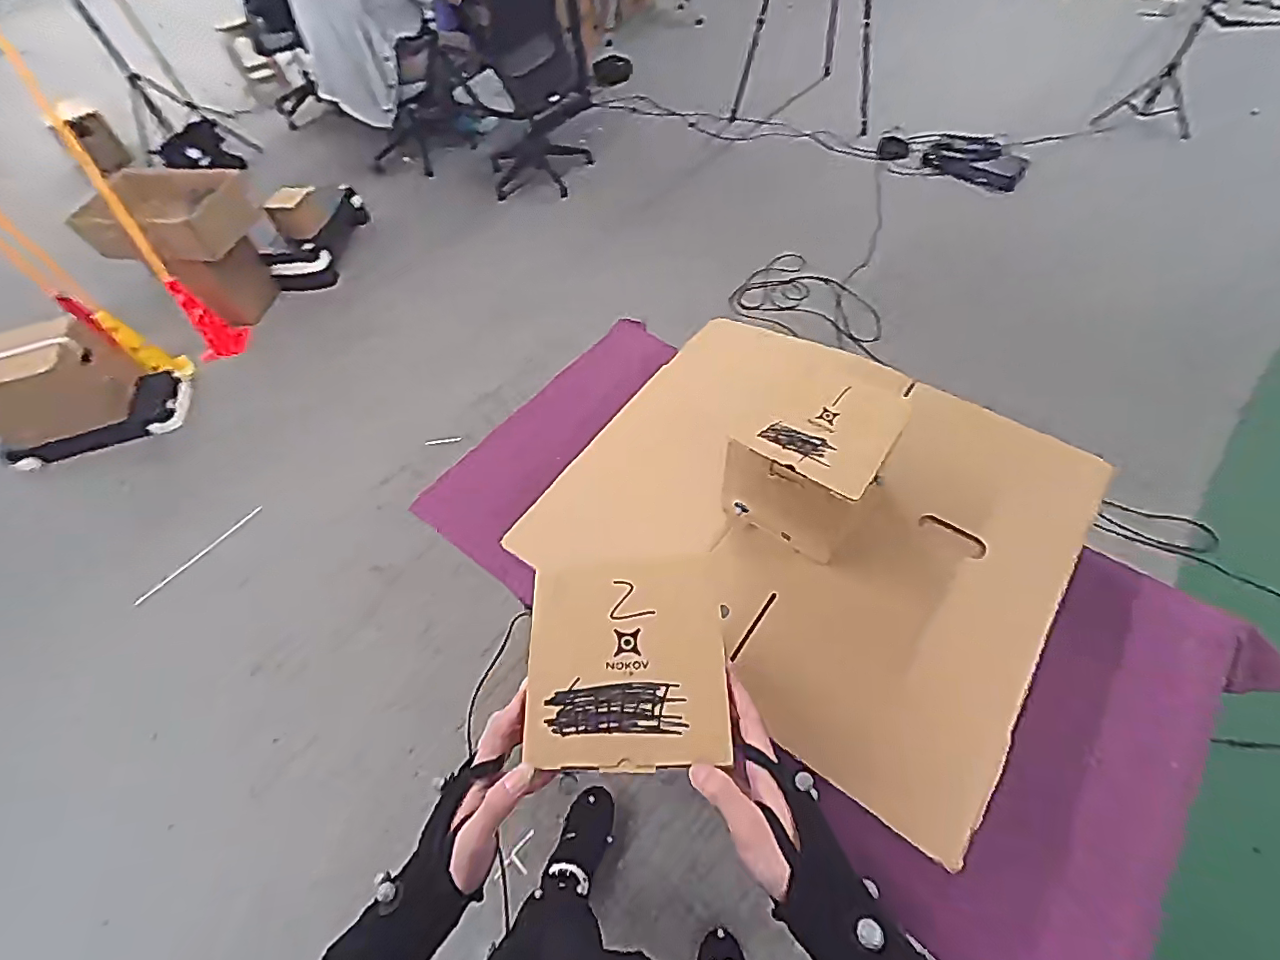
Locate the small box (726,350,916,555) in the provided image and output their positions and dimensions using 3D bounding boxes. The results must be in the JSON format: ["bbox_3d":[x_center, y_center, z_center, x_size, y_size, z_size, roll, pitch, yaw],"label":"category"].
[{"bbox_3d":[0.226,-0.031,0.714,0.168,0.176,0.179,31,64,21],"label":"small box"}]
